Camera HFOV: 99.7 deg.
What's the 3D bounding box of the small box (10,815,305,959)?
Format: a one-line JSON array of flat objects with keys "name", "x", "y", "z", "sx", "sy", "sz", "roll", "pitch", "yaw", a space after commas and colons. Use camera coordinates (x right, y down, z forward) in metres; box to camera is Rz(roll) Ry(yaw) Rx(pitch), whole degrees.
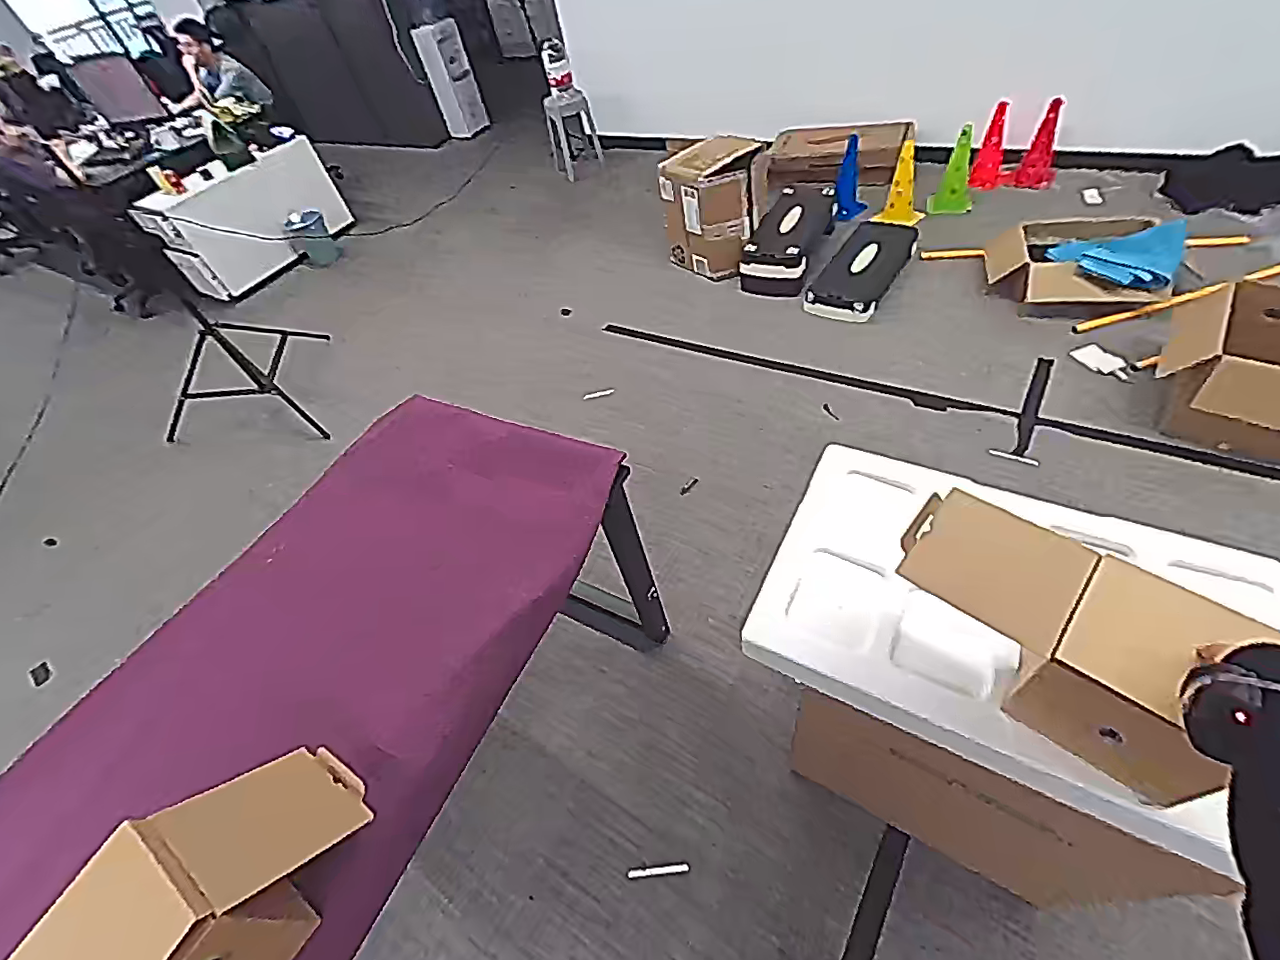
[{"name": "small box", "x": -0.508, "y": 0.510, "z": 0.588, "sx": 0.168, "sy": 0.176, "sz": 0.179, "roll": 20, "pitch": 58, "yaw": 28}]
